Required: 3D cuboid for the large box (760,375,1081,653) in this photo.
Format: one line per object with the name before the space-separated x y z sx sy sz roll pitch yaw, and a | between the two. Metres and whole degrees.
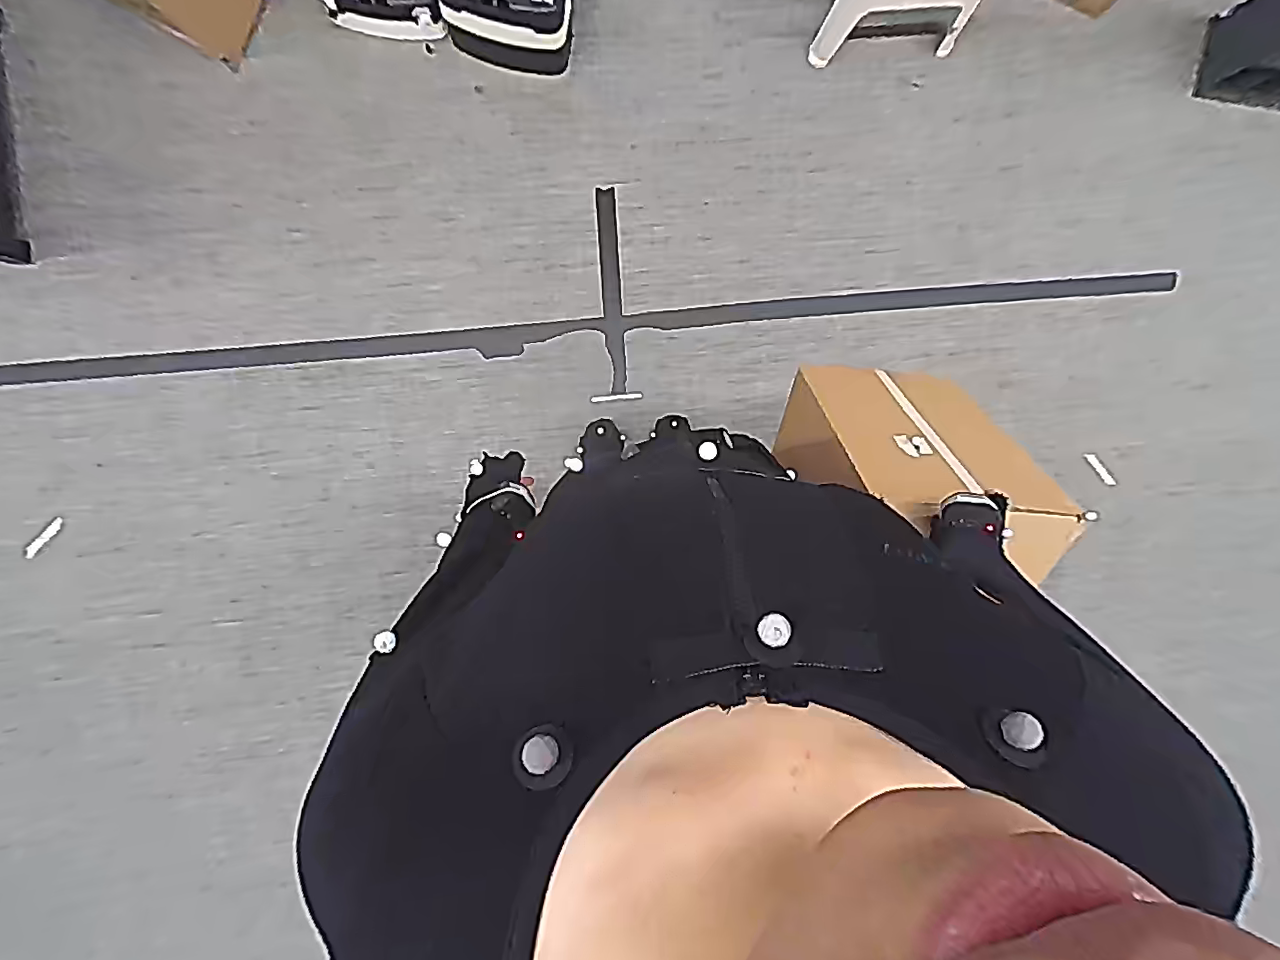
large box | 0.444 0.051 0.988 0.320 0.408 0.320 4 128 -5
